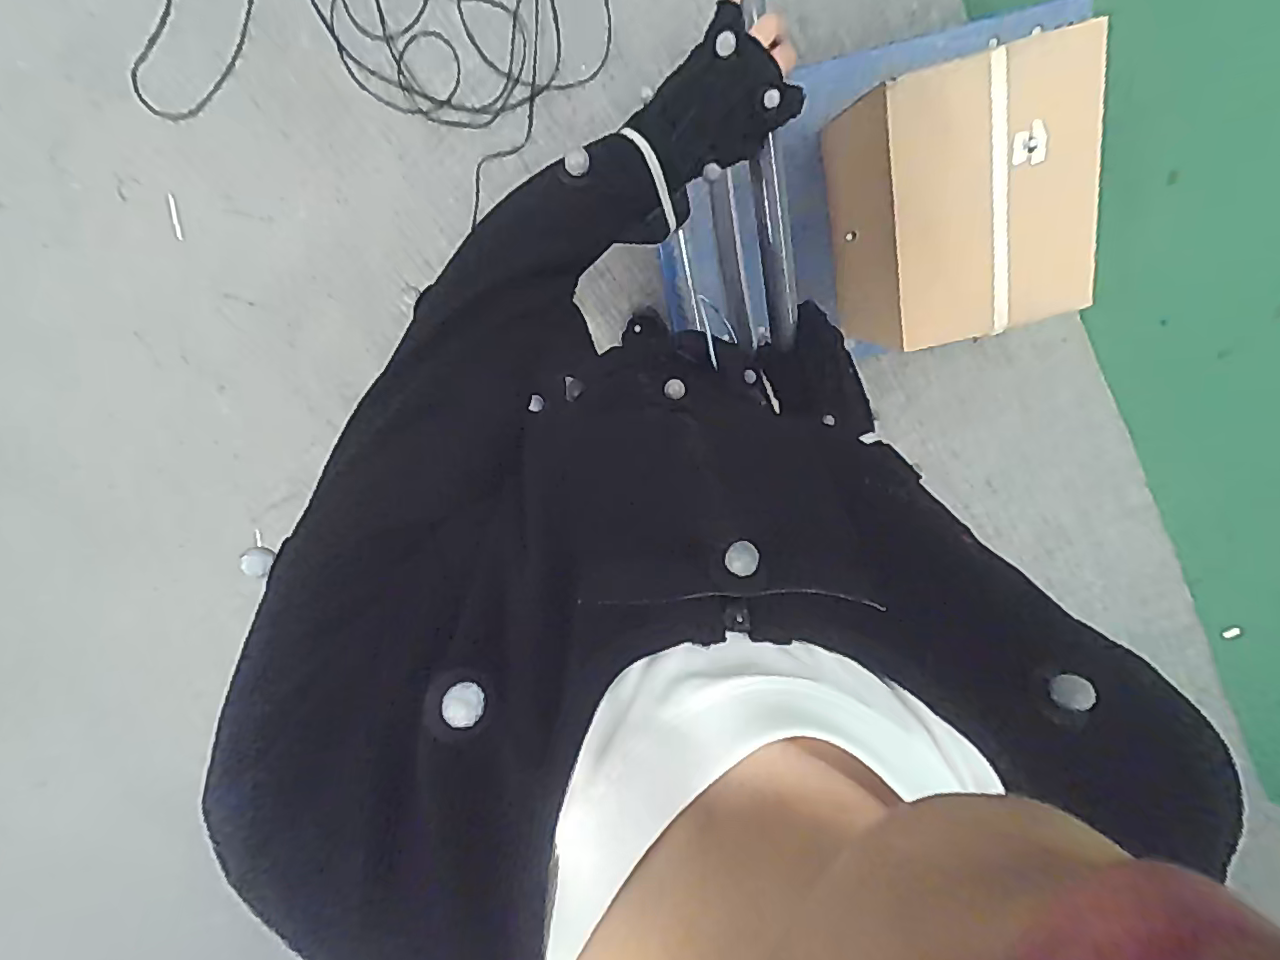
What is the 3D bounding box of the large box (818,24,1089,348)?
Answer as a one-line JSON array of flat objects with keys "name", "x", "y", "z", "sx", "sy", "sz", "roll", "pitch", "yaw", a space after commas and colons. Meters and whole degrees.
[{"name": "large box", "x": 0.547, "y": -0.492, "z": 0.993, "sx": 0.320, "sy": 0.320, "sz": 0.408, "roll": -14, "pitch": 110, "yaw": 4}]
